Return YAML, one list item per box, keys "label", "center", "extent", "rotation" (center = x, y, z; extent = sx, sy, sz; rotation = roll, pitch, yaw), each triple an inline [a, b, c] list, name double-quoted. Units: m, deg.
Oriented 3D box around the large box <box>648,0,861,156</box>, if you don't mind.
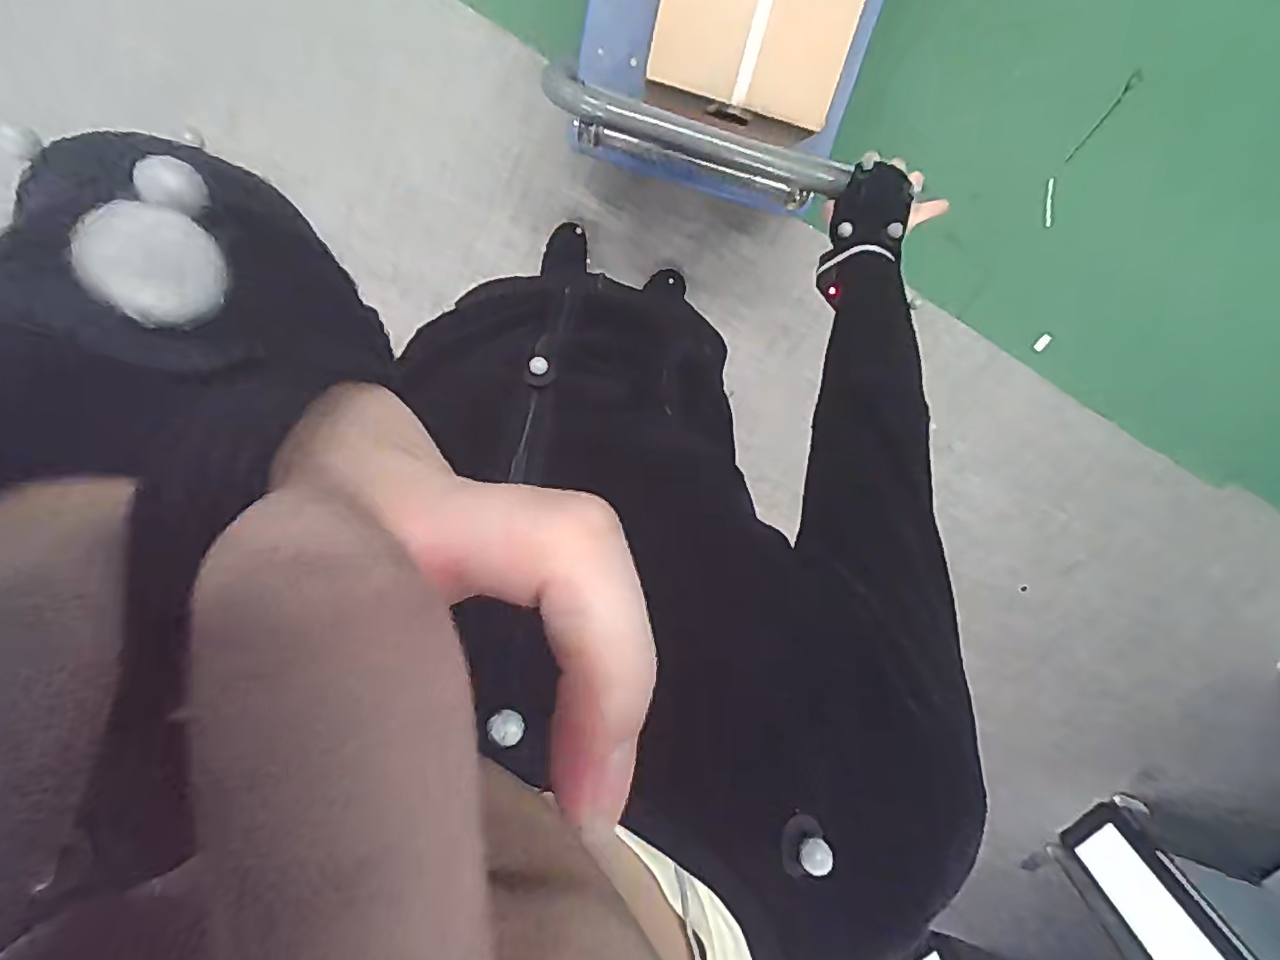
- label: "large box"
  center: [0.205, -0.864, 0.974]
  extent: [0.320, 0.320, 0.408]
  rotation: [13, 113, -7]
